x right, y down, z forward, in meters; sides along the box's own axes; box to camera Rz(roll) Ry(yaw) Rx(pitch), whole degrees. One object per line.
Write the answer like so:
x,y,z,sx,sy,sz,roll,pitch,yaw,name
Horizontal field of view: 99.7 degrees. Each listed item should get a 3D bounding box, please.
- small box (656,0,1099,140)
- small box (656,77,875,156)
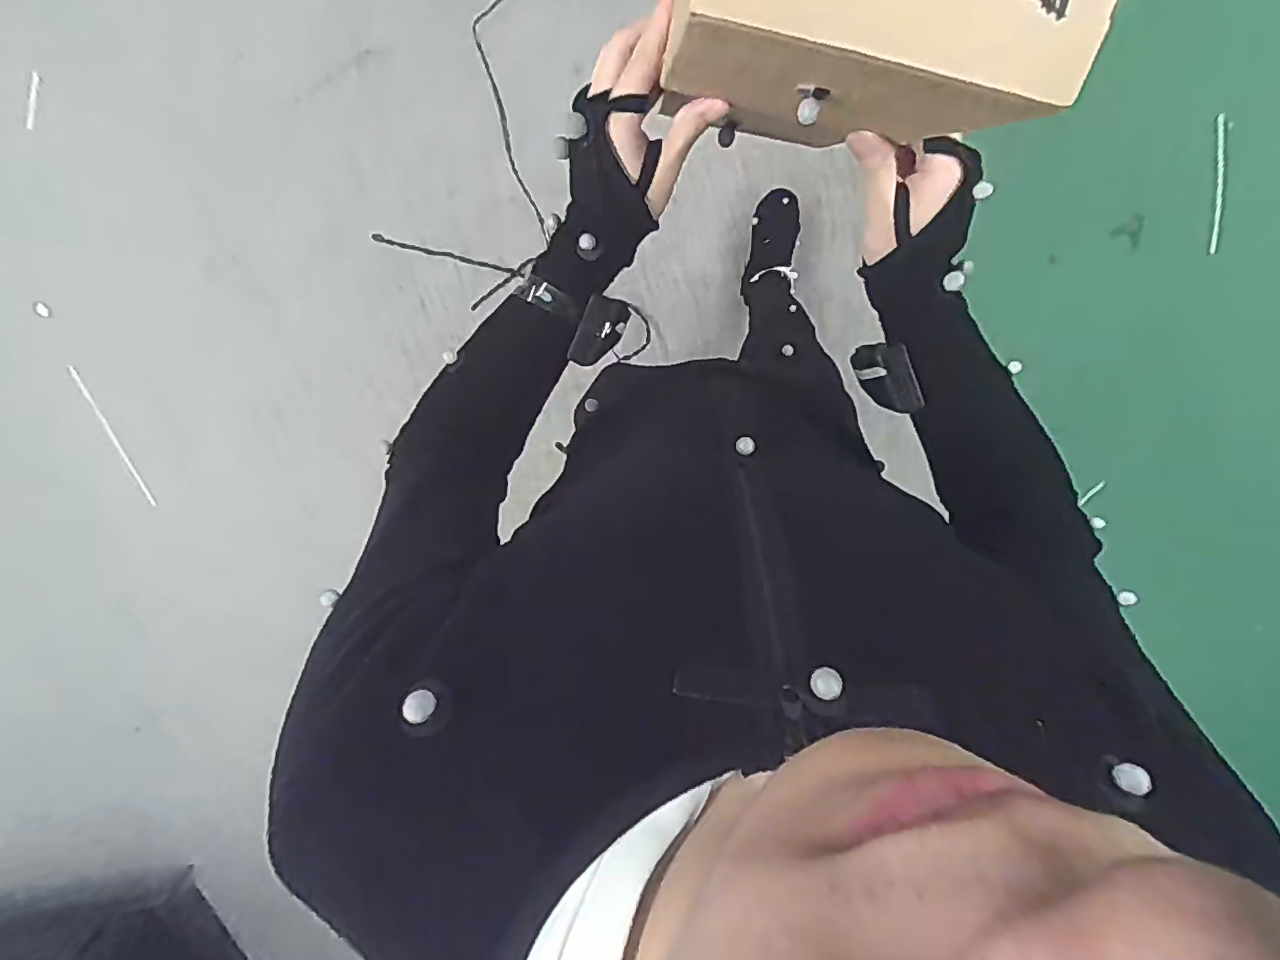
0.111,-0.283,0.267,0.179,0.176,0.168,9,116,-6,small box
0.108,-0.366,0.409,0.168,0.176,0.179,7,116,-6,small box
